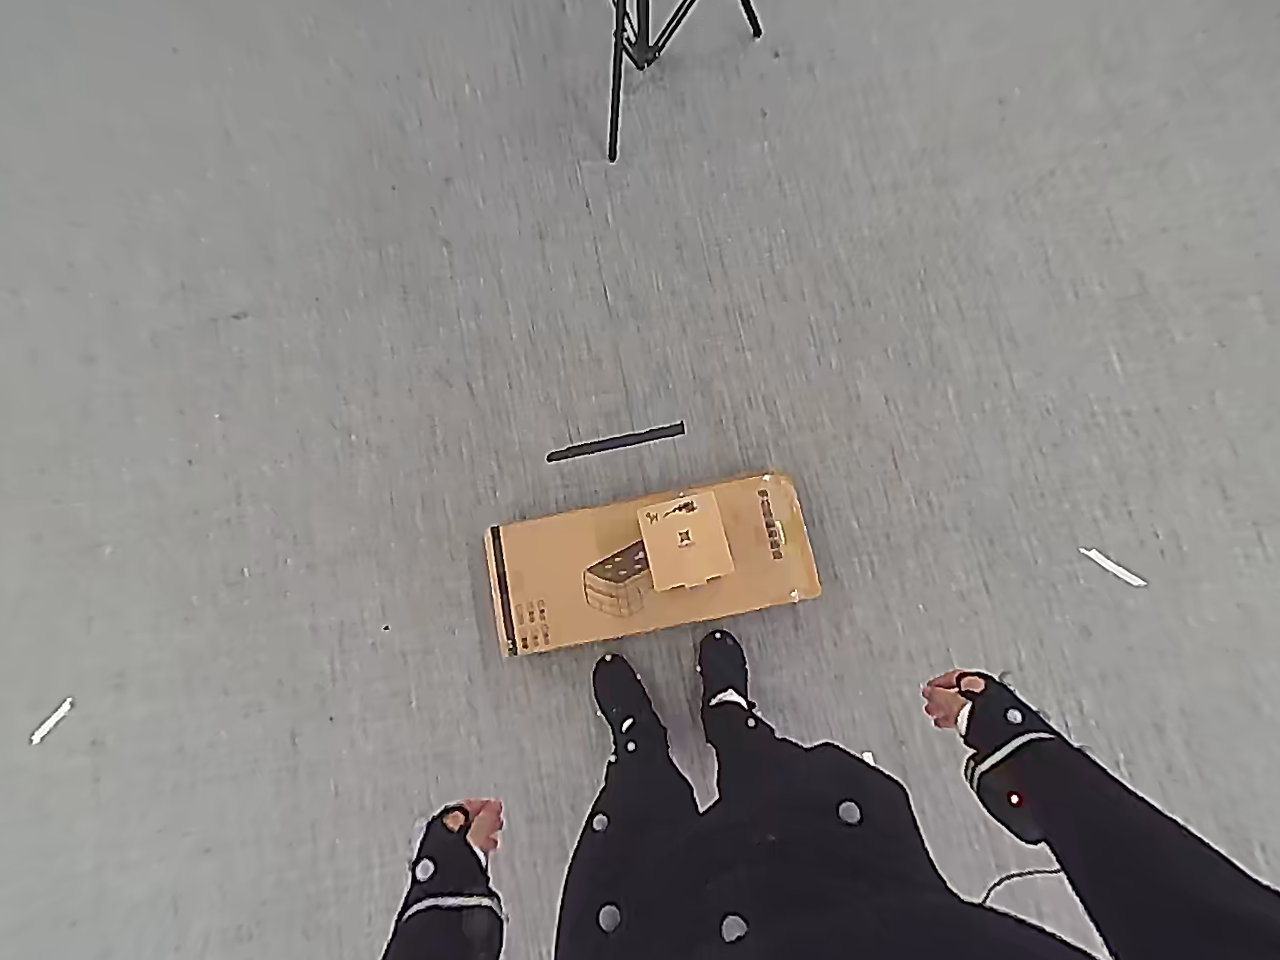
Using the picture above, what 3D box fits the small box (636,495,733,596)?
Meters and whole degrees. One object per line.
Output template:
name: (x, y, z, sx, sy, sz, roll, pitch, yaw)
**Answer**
small box: (0.092, 0.141, 1.165, 0.168, 0.176, 0.179, -13, 81, -1)
